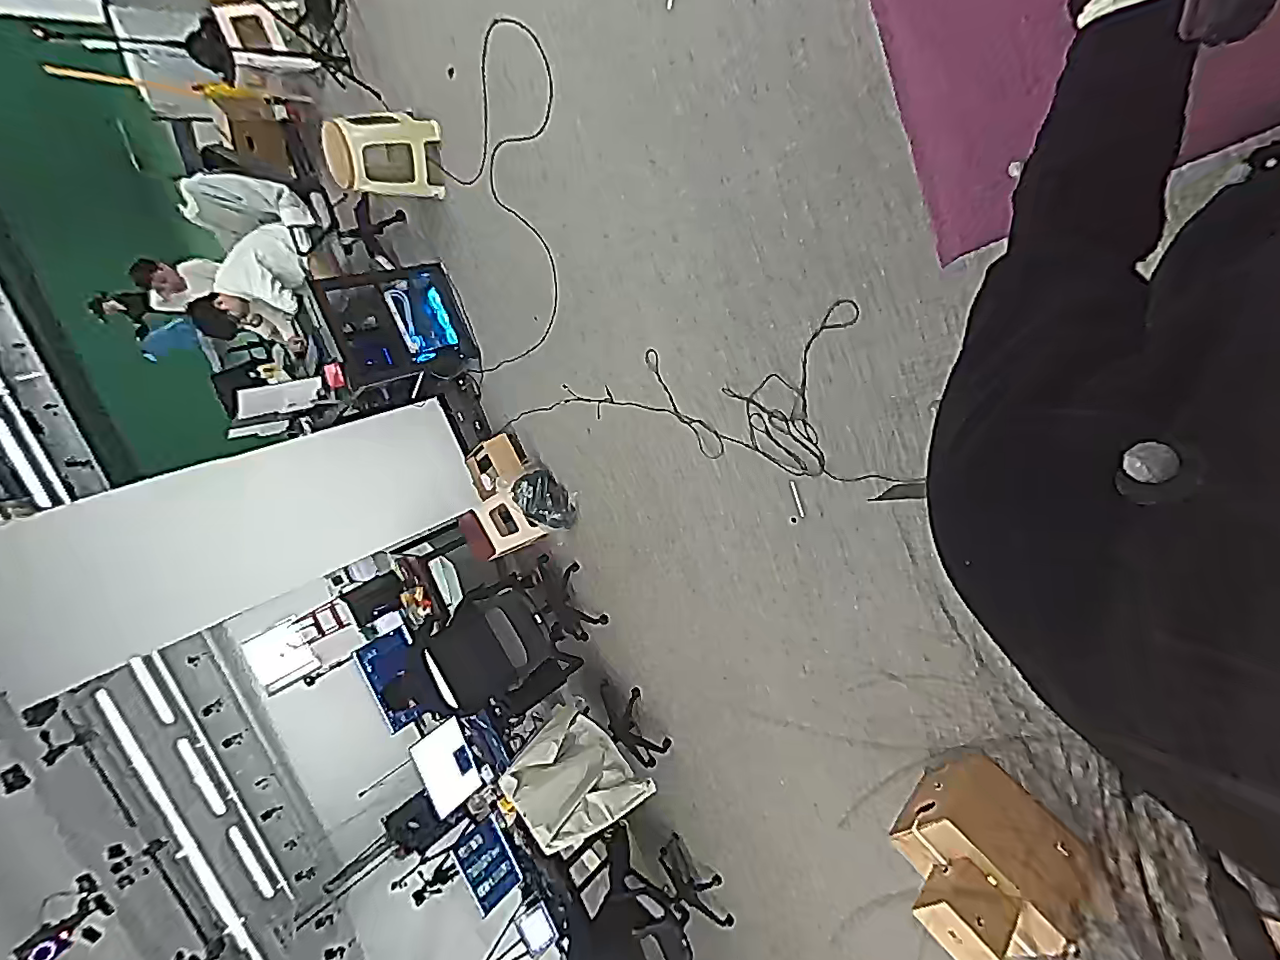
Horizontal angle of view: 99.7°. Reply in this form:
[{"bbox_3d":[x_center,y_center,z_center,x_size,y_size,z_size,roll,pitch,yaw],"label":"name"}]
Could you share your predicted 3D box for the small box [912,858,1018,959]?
[{"bbox_3d":[0.936,1.240,1.551,0.179,0.176,0.168,44,138,25],"label":"small box"}]
